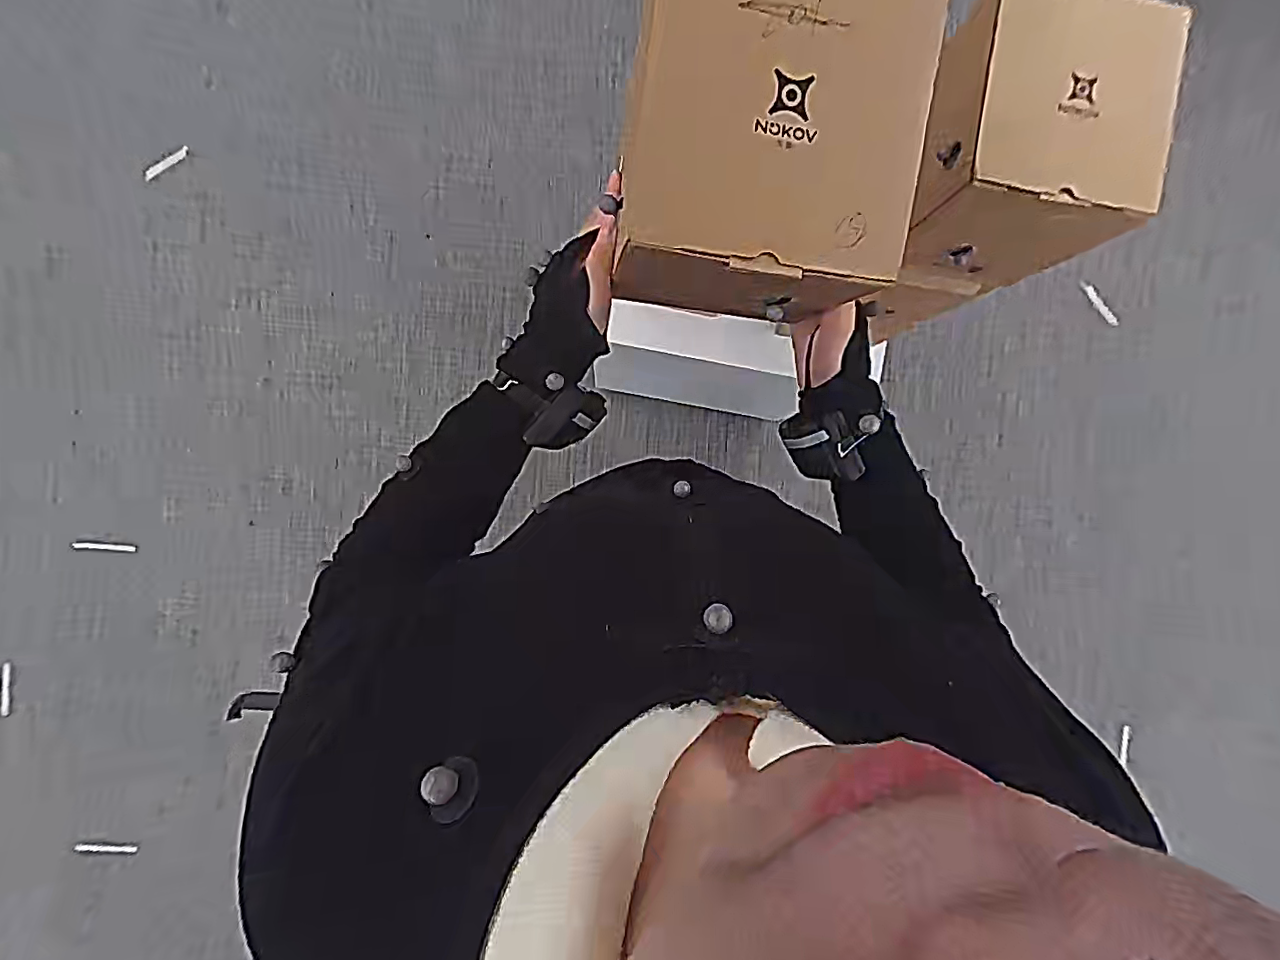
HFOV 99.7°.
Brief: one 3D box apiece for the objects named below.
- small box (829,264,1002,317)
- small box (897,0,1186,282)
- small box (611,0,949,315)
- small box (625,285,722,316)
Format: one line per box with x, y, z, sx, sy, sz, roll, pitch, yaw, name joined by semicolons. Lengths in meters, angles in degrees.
0.340;-0.321;0.682;0.168;0.176;0.179;8;90;-4;small box
0.352;-0.315;0.520;0.168;0.176;0.179;8;91;-4;small box
0.072;-0.220;0.376;0.168;0.176;0.179;6;98;-8;small box
0.073;-0.374;0.827;0.168;0.176;0.179;11;90;-4;small box
